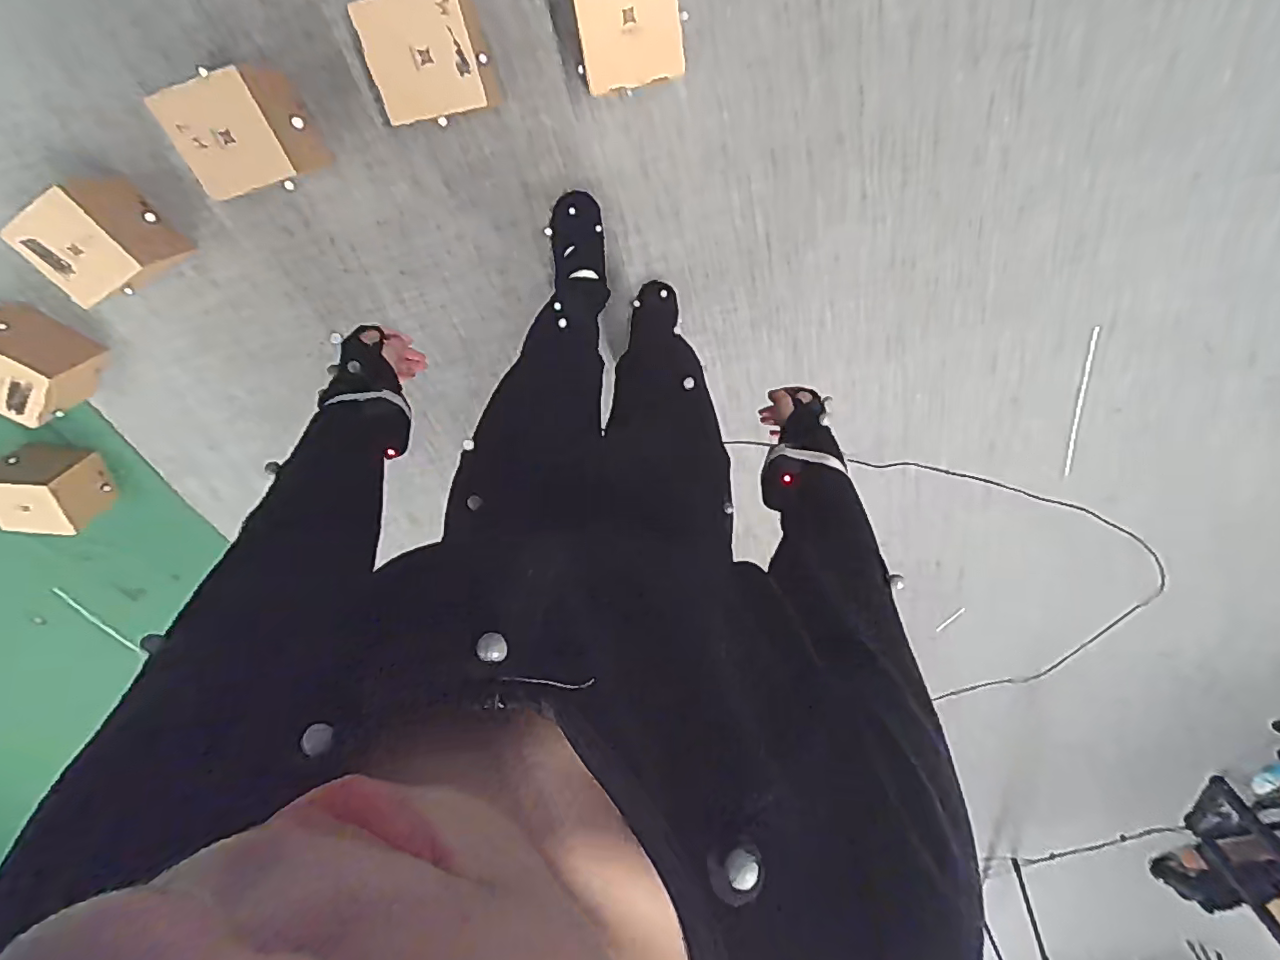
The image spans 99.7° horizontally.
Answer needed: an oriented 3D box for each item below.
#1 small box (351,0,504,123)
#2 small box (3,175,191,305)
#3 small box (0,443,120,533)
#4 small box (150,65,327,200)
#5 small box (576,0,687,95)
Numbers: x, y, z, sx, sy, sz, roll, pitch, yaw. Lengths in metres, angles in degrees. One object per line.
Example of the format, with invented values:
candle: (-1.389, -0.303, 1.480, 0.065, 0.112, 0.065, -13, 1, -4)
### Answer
small box: (-0.358, -0.739, 0.948, 0.179, 0.176, 0.168, -9, 126, 4)
small box: (-1.071, -0.484, 1.086, 0.179, 0.176, 0.168, -25, 123, 13)
small box: (-1.547, 0.017, 1.419, 0.179, 0.176, 0.168, 6, 125, -7)
small box: (-0.715, -0.640, 0.996, 0.179, 0.176, 0.168, -14, 125, 6)
small box: (-0.019, -0.787, 0.937, 0.168, 0.176, 0.179, -10, 126, 3)
